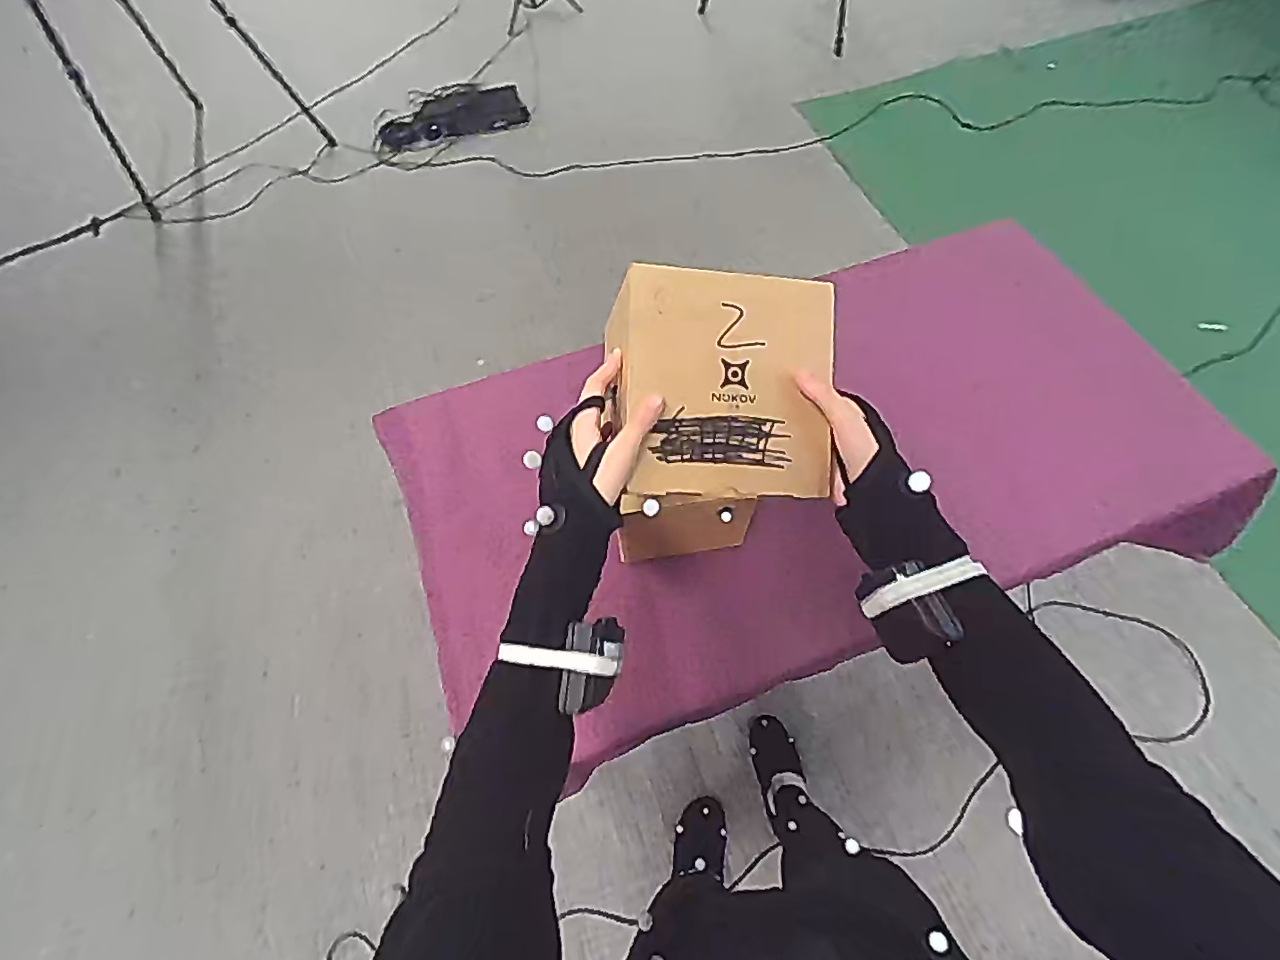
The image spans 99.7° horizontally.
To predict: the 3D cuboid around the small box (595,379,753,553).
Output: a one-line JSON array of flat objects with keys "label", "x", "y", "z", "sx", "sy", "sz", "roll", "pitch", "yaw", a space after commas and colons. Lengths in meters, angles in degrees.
[{"label": "small box", "x": 0.041, "y": -0.012, "z": 0.746, "sx": 0.179, "sy": 0.176, "sz": 0.168, "roll": -9, "pitch": 62, "yaw": -4}]
